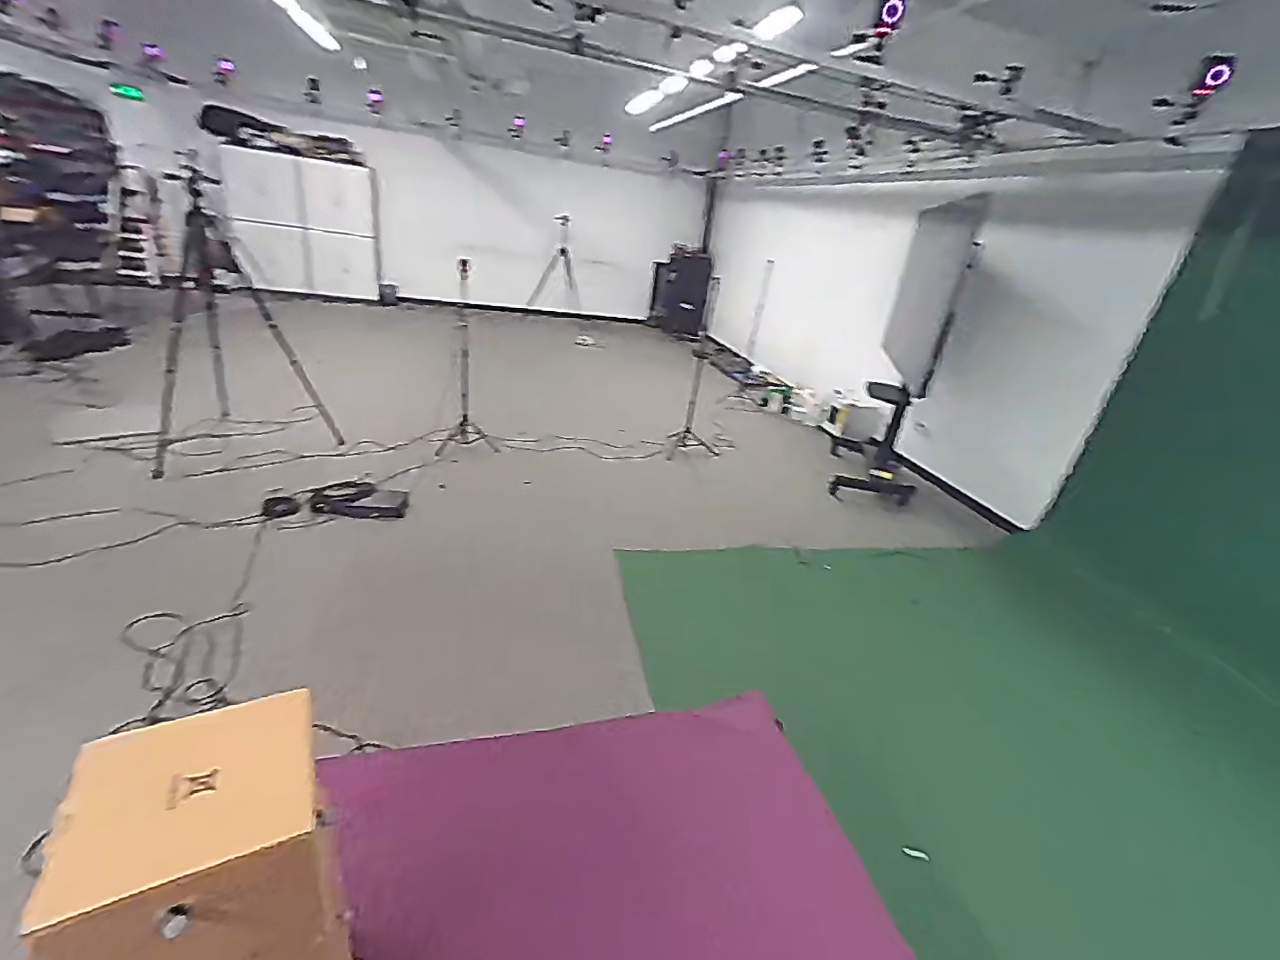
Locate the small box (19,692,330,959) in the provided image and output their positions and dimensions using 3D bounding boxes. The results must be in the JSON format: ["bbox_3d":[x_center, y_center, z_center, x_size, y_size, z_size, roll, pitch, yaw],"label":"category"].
[{"bbox_3d":[-0.390,0.336,0.495,0.179,0.176,0.168,-7,30,-31],"label":"small box"}]

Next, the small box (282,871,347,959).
[{"bbox_3d":[-0.446,0.624,0.638,0.179,0.176,0.168,-6,29,-29],"label":"small box"}]
